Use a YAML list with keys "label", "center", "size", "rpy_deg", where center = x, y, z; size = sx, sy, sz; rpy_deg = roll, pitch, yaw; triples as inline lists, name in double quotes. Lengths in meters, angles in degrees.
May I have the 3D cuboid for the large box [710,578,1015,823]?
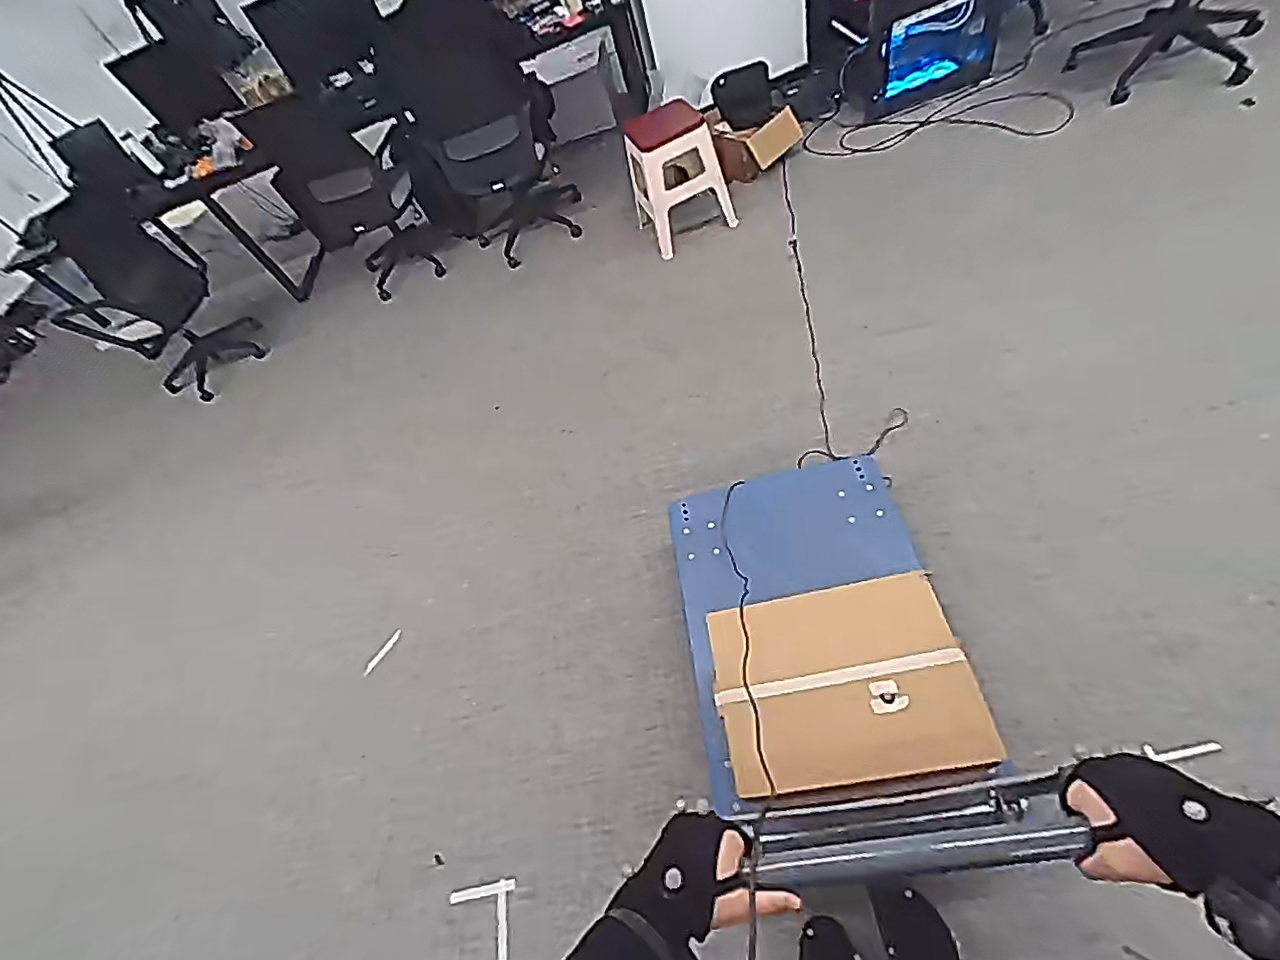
- label: "large box"
  center: [0.373, 0.424, 1.008]
  size: [0.408, 0.320, 0.320]
  rpy_deg: [-14, 54, 9]
